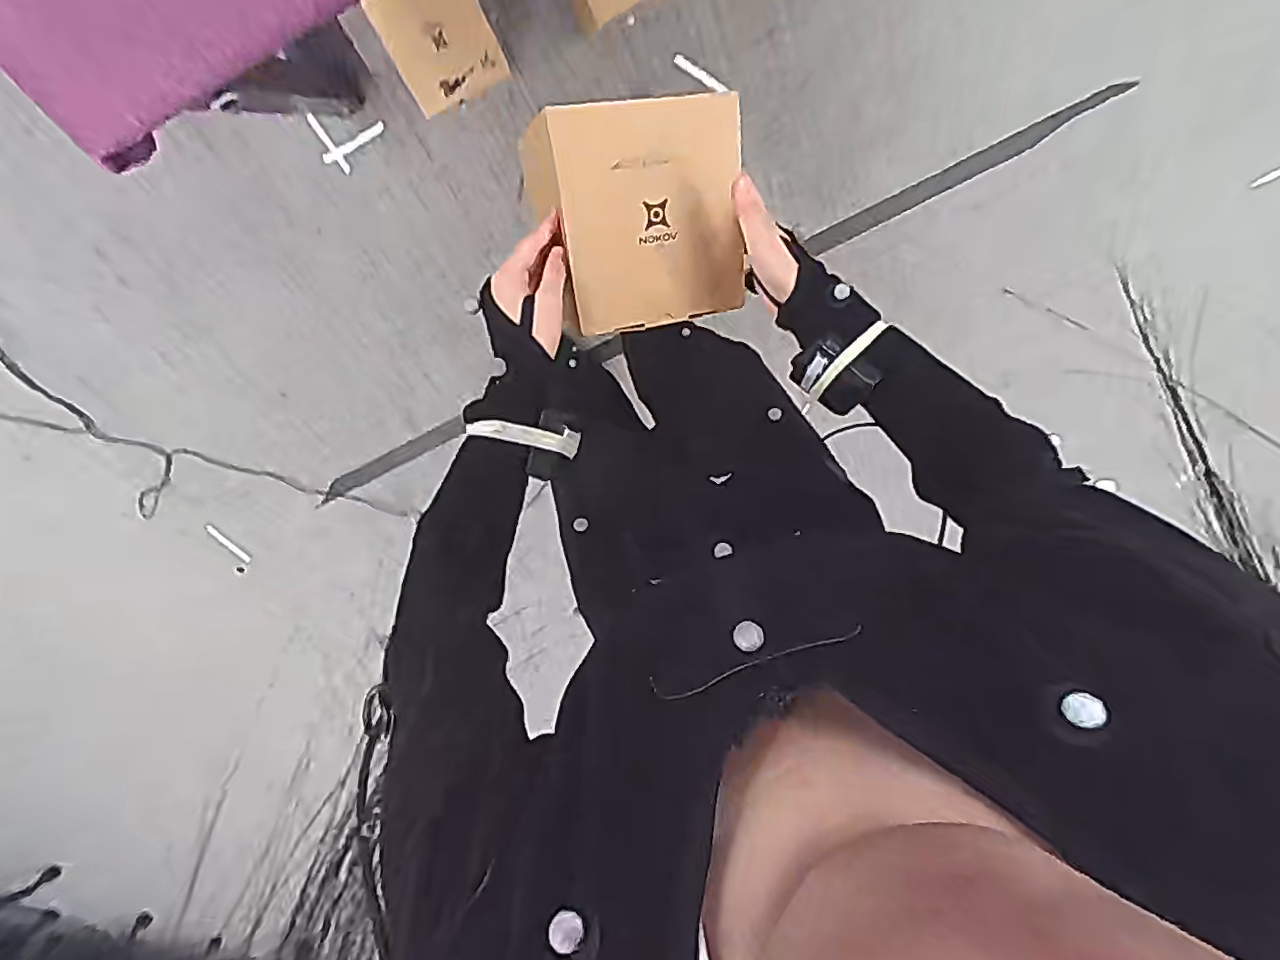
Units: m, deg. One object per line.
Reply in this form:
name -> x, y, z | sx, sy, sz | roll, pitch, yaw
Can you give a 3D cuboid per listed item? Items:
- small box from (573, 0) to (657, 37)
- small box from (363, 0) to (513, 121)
small box -> -0.047, -0.881, 0.893 | 0.168, 0.176, 0.179 | -27, 124, 7
small box -> -0.333, -0.747, 0.925 | 0.168, 0.176, 0.179 | -25, 122, 5
